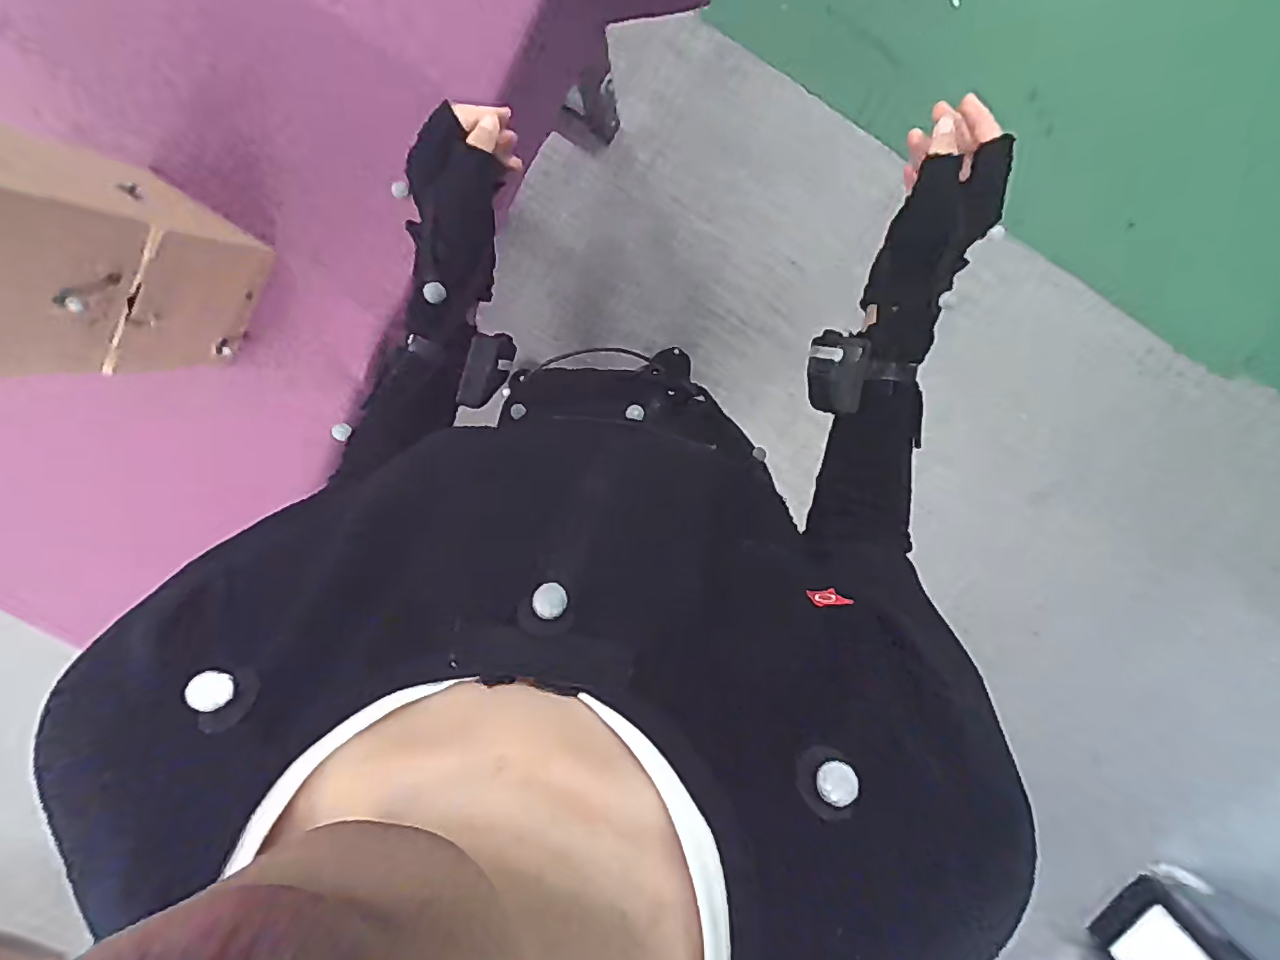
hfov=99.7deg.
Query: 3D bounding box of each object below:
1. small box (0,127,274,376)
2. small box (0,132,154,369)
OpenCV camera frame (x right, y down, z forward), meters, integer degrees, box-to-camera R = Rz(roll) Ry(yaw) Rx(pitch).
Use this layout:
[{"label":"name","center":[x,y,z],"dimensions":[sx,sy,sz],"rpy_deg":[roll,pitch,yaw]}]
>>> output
[{"label":"small box","center":[-0.559,-0.236,0.598],"dimensions":[0.179,0.176,0.168],"rpy_deg":[32,103,-6]},{"label":"small box","center":[-0.569,-0.198,0.438],"dimensions":[0.179,0.176,0.168],"rpy_deg":[31,103,-7]}]
